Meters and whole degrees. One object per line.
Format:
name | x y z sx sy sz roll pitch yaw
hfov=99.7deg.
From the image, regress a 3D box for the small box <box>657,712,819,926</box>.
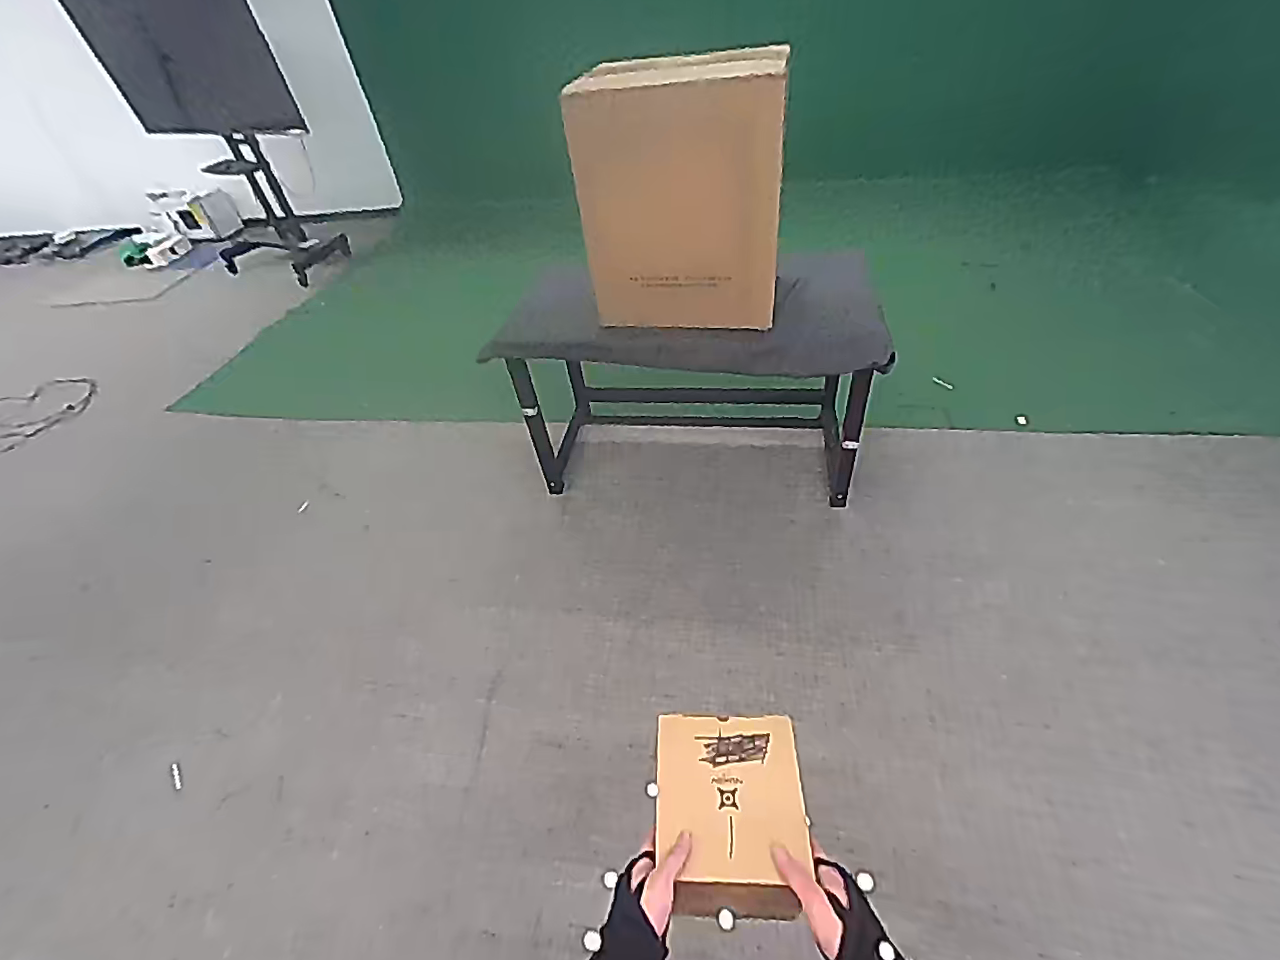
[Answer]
small box | 0.111 0.411 0.661 0.168 0.176 0.179 -1 42 6
